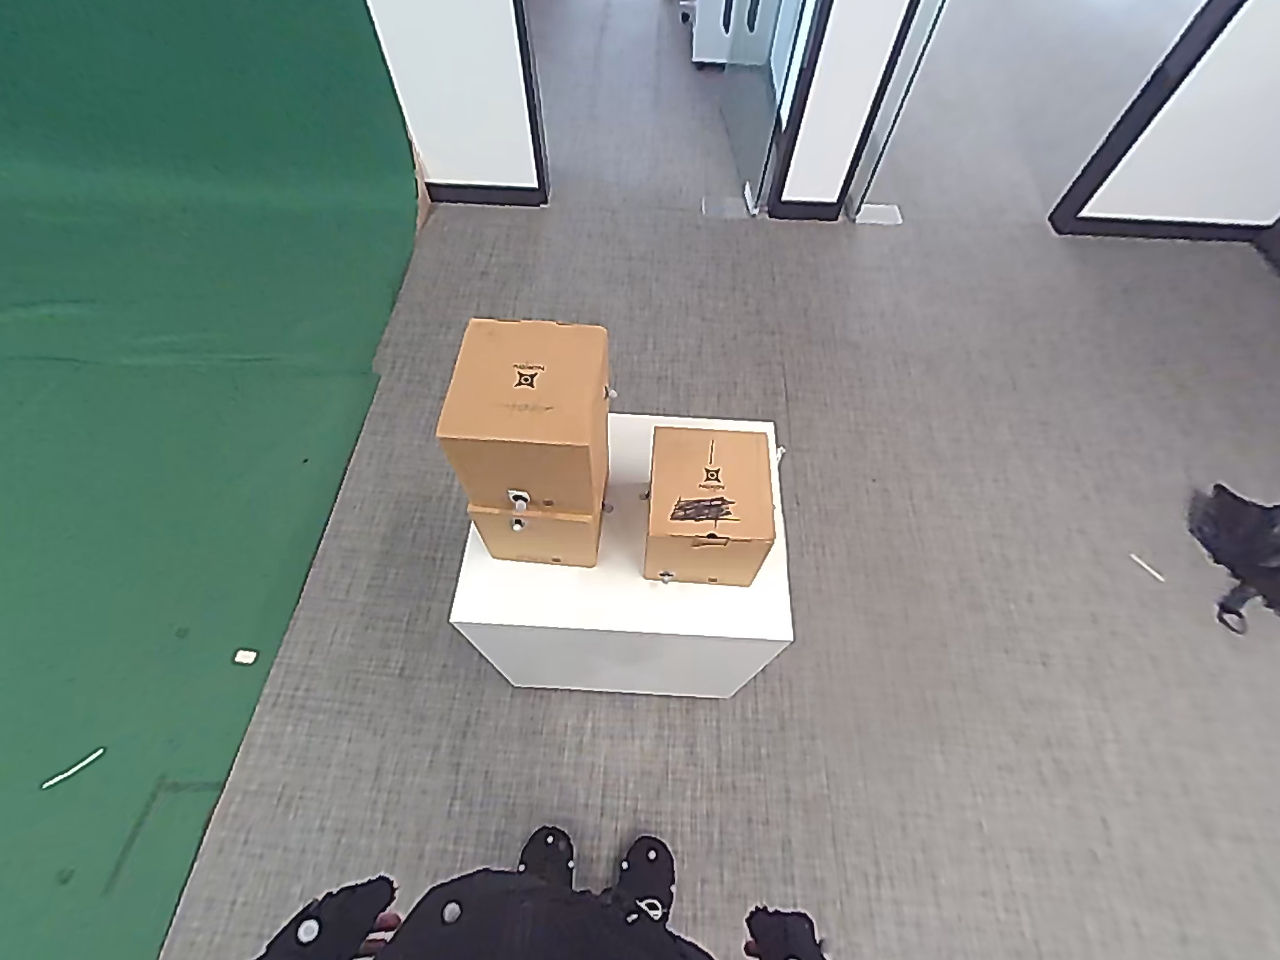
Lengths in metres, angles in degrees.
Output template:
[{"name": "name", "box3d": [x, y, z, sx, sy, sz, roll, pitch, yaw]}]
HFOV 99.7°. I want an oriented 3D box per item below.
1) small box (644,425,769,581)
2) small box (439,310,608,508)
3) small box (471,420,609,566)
[{"name": "small box", "box3d": [0.094, 0.040, 0.812, 0.168, 0.176, 0.179, 4, 58, 1]}, {"name": "small box", "box3d": [-0.128, -0.083, 0.673, 0.168, 0.176, 0.179, 3, 61, 0]}, {"name": "small box", "box3d": [-0.137, 0.013, 0.823, 0.168, 0.176, 0.179, 5, 59, 2]}]
